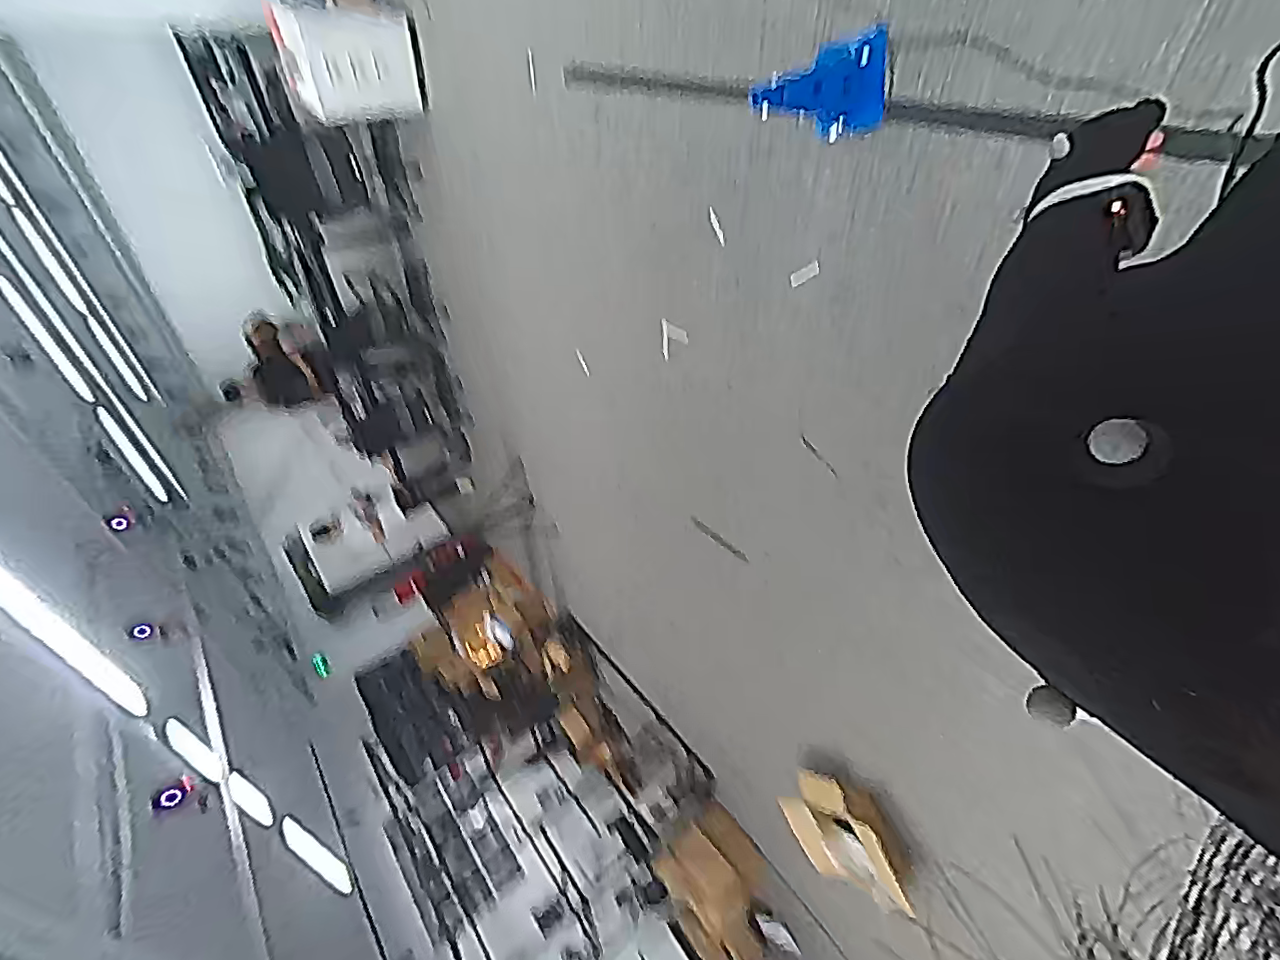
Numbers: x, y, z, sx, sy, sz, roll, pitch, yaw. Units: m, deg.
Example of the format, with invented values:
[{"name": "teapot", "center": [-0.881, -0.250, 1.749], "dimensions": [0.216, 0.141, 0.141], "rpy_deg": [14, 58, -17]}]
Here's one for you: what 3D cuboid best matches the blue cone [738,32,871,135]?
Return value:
[{"name": "blue cone", "center": [0.369, -0.931, 1.293], "dimensions": [0.192, 0.380, 0.193], "rpy_deg": [24, 133, 48]}]
